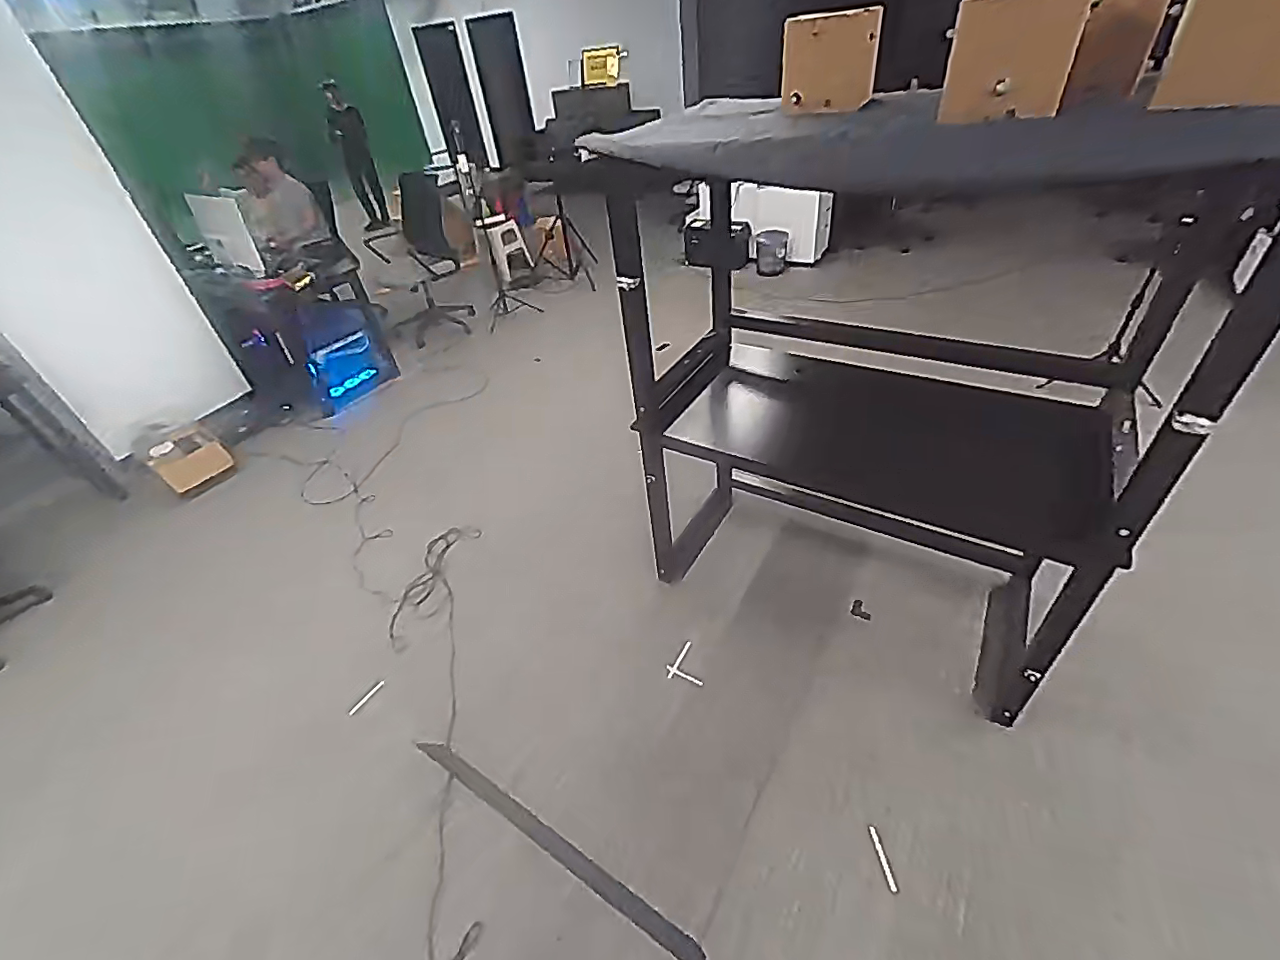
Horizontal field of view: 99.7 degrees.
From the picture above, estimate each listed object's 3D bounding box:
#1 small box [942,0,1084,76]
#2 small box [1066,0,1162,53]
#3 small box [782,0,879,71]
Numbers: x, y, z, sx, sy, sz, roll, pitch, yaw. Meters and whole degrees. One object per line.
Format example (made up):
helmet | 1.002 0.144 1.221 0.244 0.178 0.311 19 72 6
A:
small box | 0.582 -0.738 0.835 0.168 0.176 0.179 14 45 24
small box | 0.807 -0.851 0.933 0.168 0.176 0.179 19 47 28
small box | 0.405 -0.981 1.145 0.168 0.176 0.179 16 45 24
